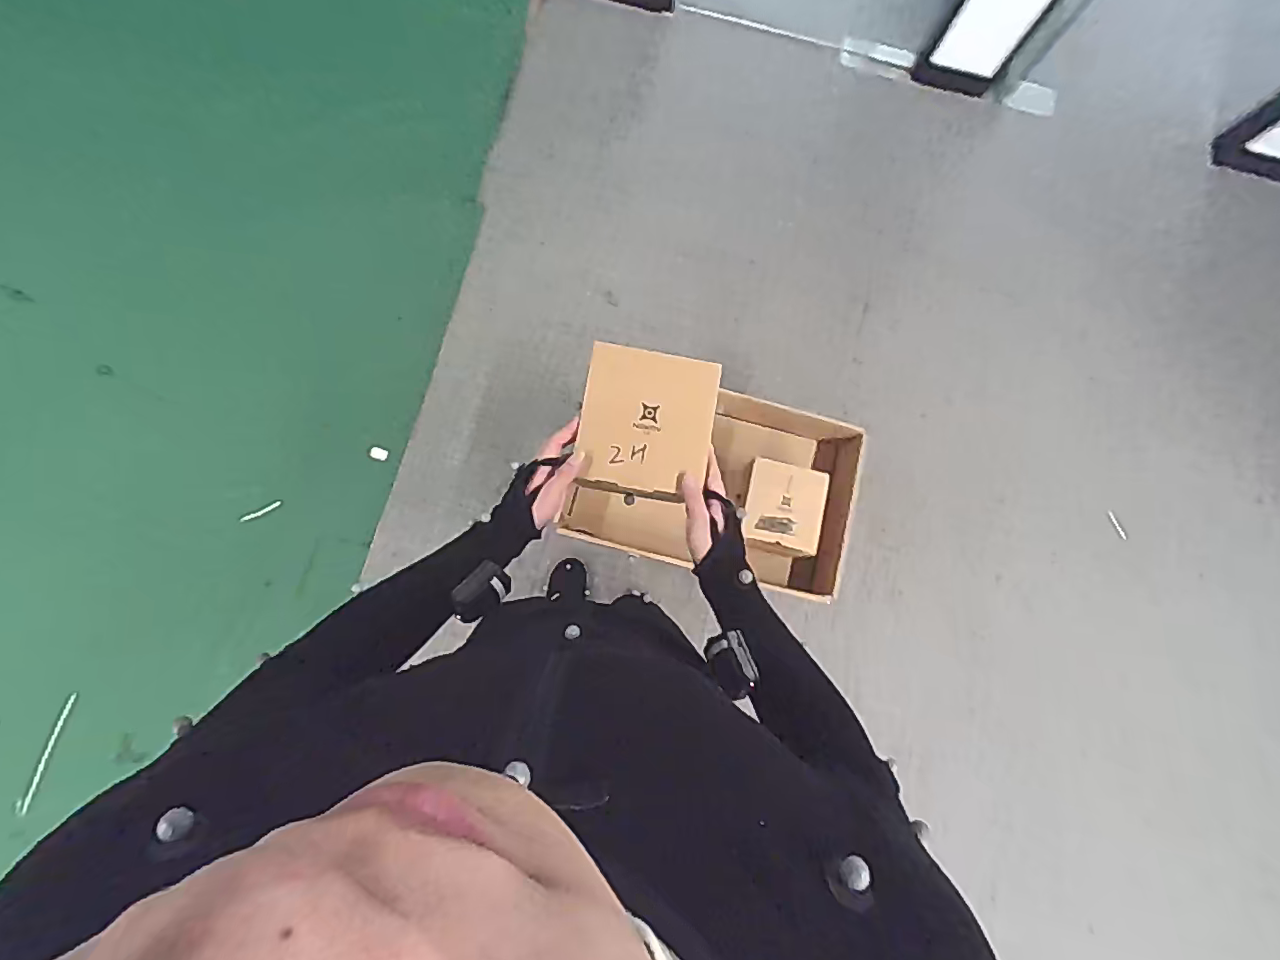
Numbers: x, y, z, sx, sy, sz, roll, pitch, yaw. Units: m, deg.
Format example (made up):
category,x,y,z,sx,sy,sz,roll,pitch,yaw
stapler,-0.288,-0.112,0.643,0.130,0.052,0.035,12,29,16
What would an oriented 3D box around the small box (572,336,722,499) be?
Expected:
category,x,y,z,sx,sy,sz,roll,pitch,yaw
small box,0.004,-0.074,0.746,0.168,0.176,0.179,10,86,-3
